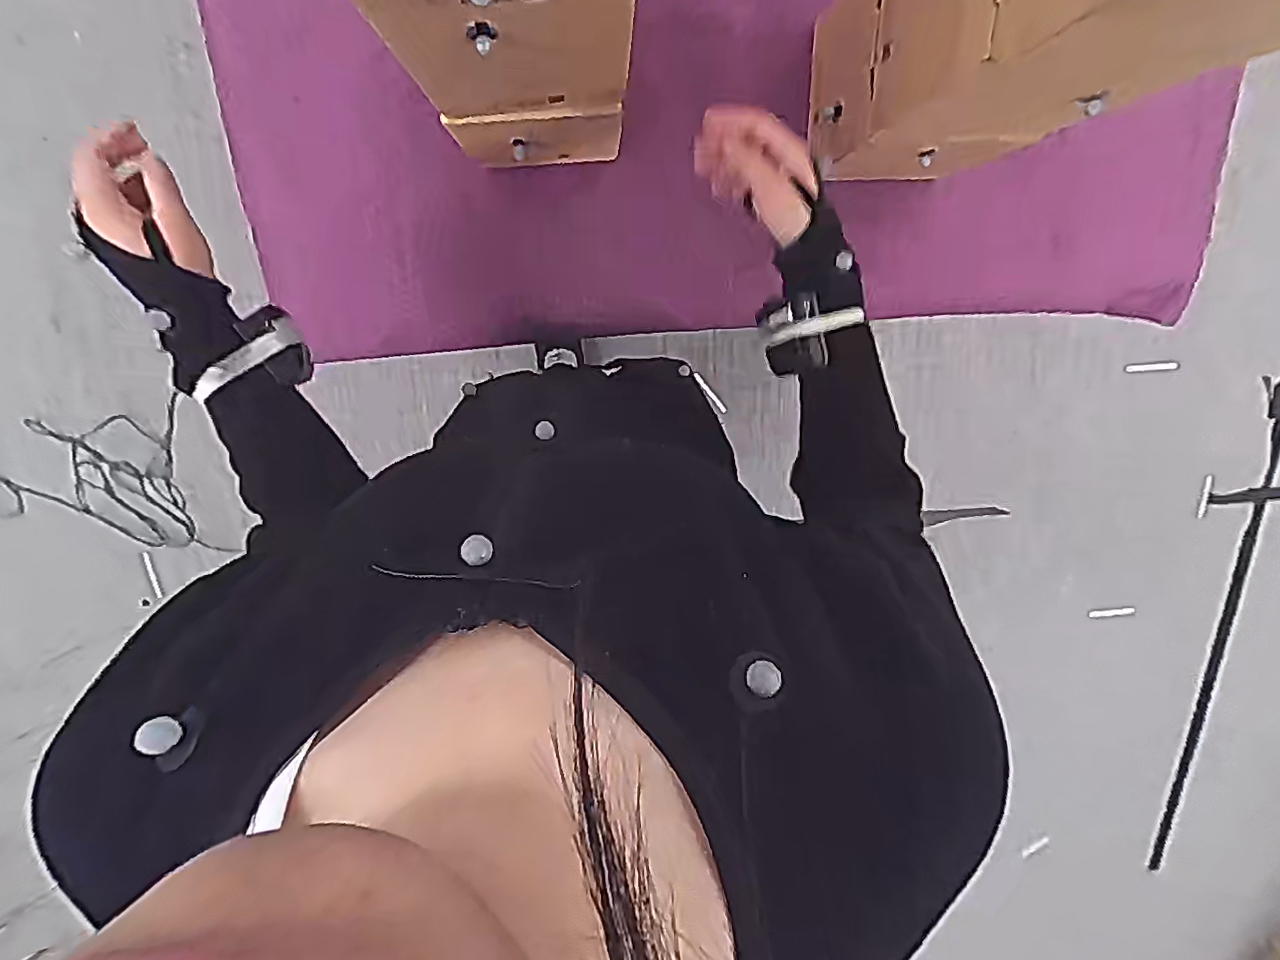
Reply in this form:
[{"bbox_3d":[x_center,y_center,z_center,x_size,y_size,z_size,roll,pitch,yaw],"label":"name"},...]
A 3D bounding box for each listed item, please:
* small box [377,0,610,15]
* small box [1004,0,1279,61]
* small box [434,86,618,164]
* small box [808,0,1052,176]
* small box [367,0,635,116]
[{"bbox_3d":[-0.085,-0.345,0.225,0.168,0.176,0.179,-6,107,-2],"label":"small box"},{"bbox_3d":[0.326,-0.333,0.258,0.179,0.176,0.168,-3,107,-3],"label":"small box"},{"bbox_3d":[-0.110,-0.433,0.542,0.168,0.176,0.179,-5,106,-2],"label":"small box"},{"bbox_3d":[0.293,-0.431,0.571,0.179,0.176,0.168,-3,108,-4],"label":"small box"},{"bbox_3d":[-0.098,-0.394,0.382,0.168,0.176,0.179,-7,106,-2],"label":"small box"}]
